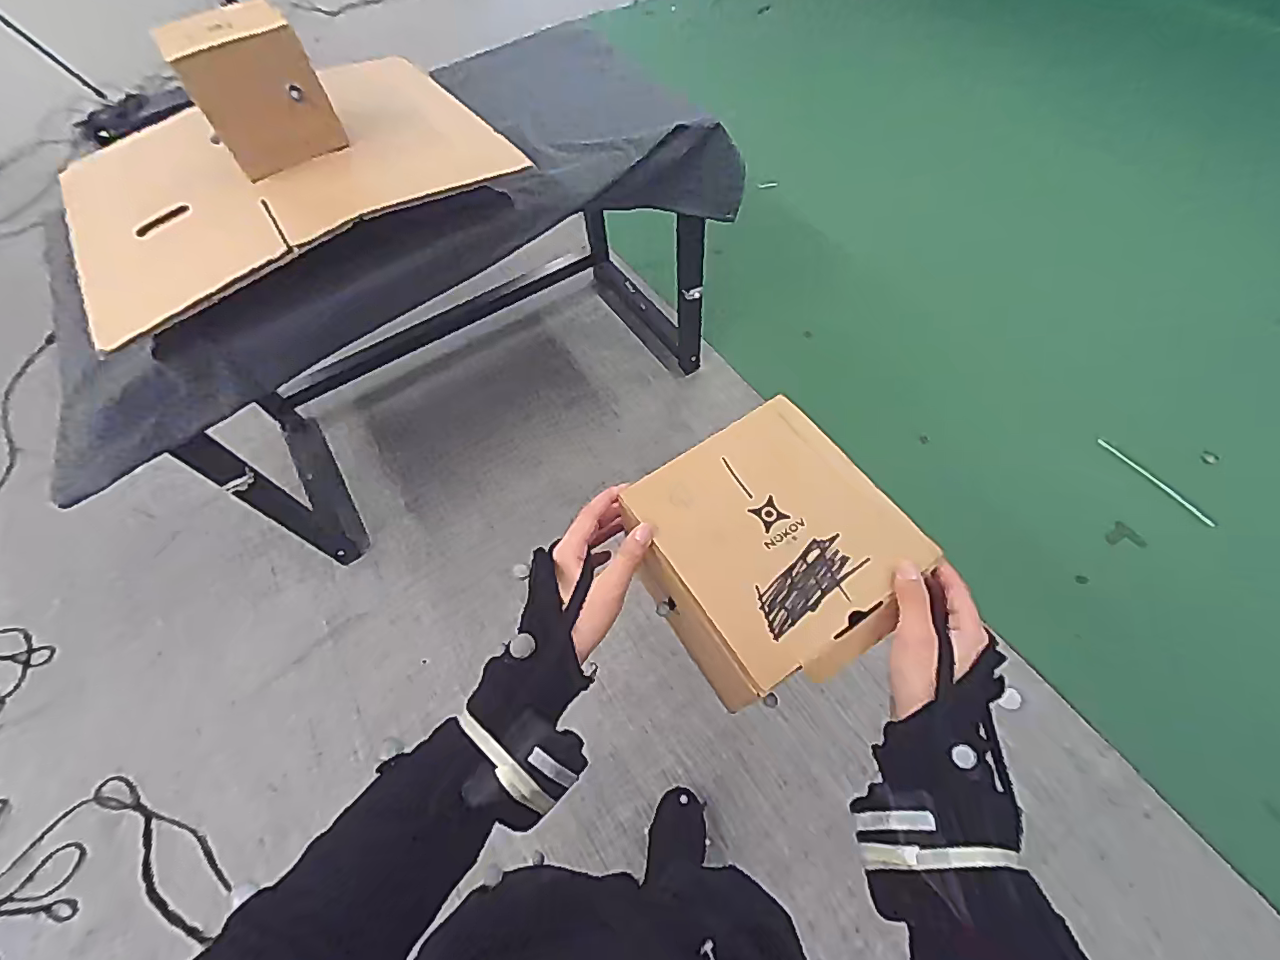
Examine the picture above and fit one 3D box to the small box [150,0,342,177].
[{"bbox_3d":[-0.608,-0.622,0.858,0.179,0.176,0.168,-34,61,-14],"label":"small box"}]
